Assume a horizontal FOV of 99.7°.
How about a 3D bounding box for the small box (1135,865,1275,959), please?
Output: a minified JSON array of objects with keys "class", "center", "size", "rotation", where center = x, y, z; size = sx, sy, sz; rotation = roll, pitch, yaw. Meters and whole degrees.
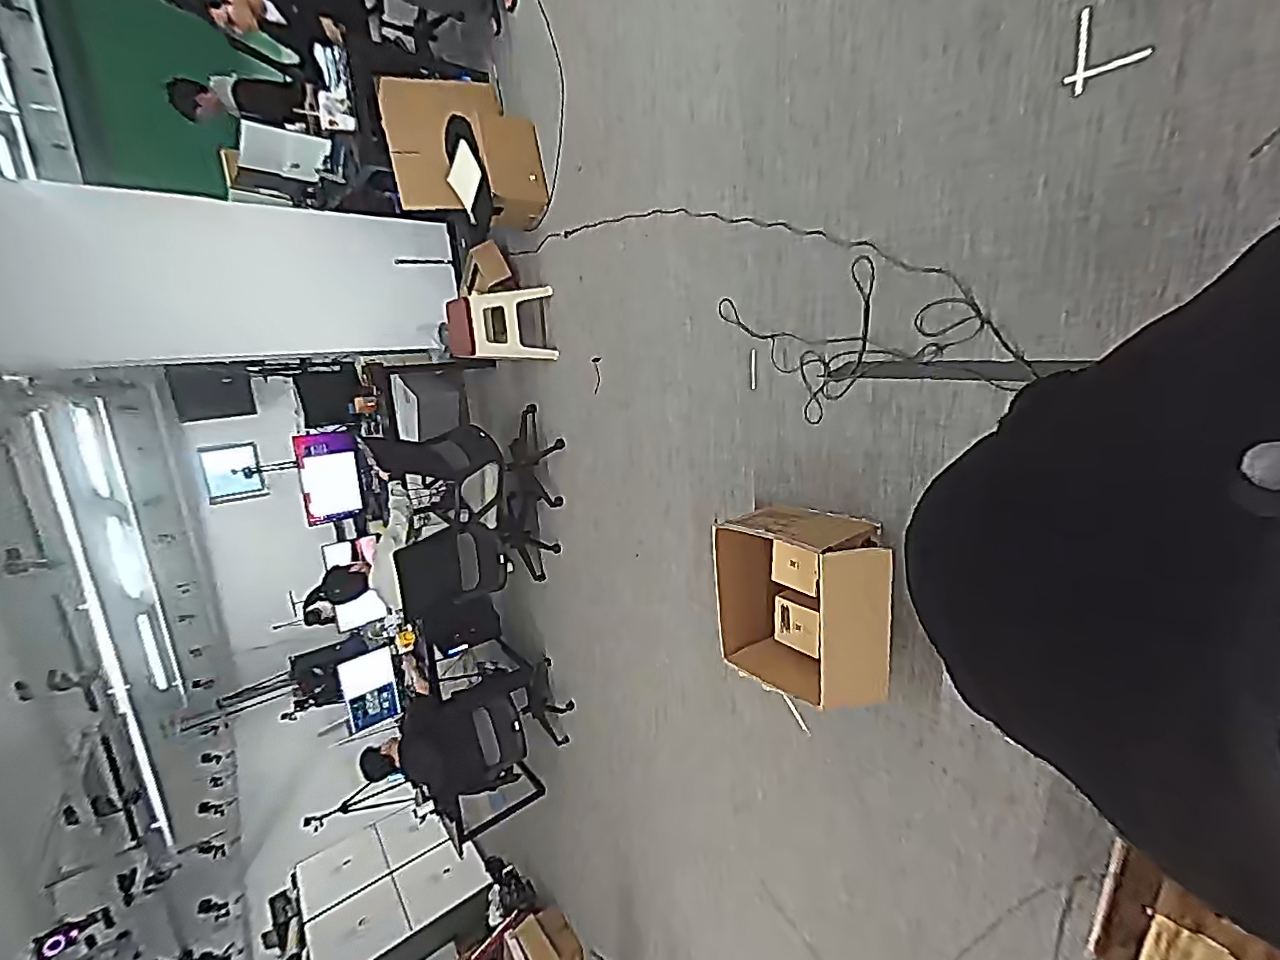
[{"class":"small box","center":[1.170,0.962,1.122],"size":[0.168,0.176,0.179],"rotation":[19,114,48]}]
